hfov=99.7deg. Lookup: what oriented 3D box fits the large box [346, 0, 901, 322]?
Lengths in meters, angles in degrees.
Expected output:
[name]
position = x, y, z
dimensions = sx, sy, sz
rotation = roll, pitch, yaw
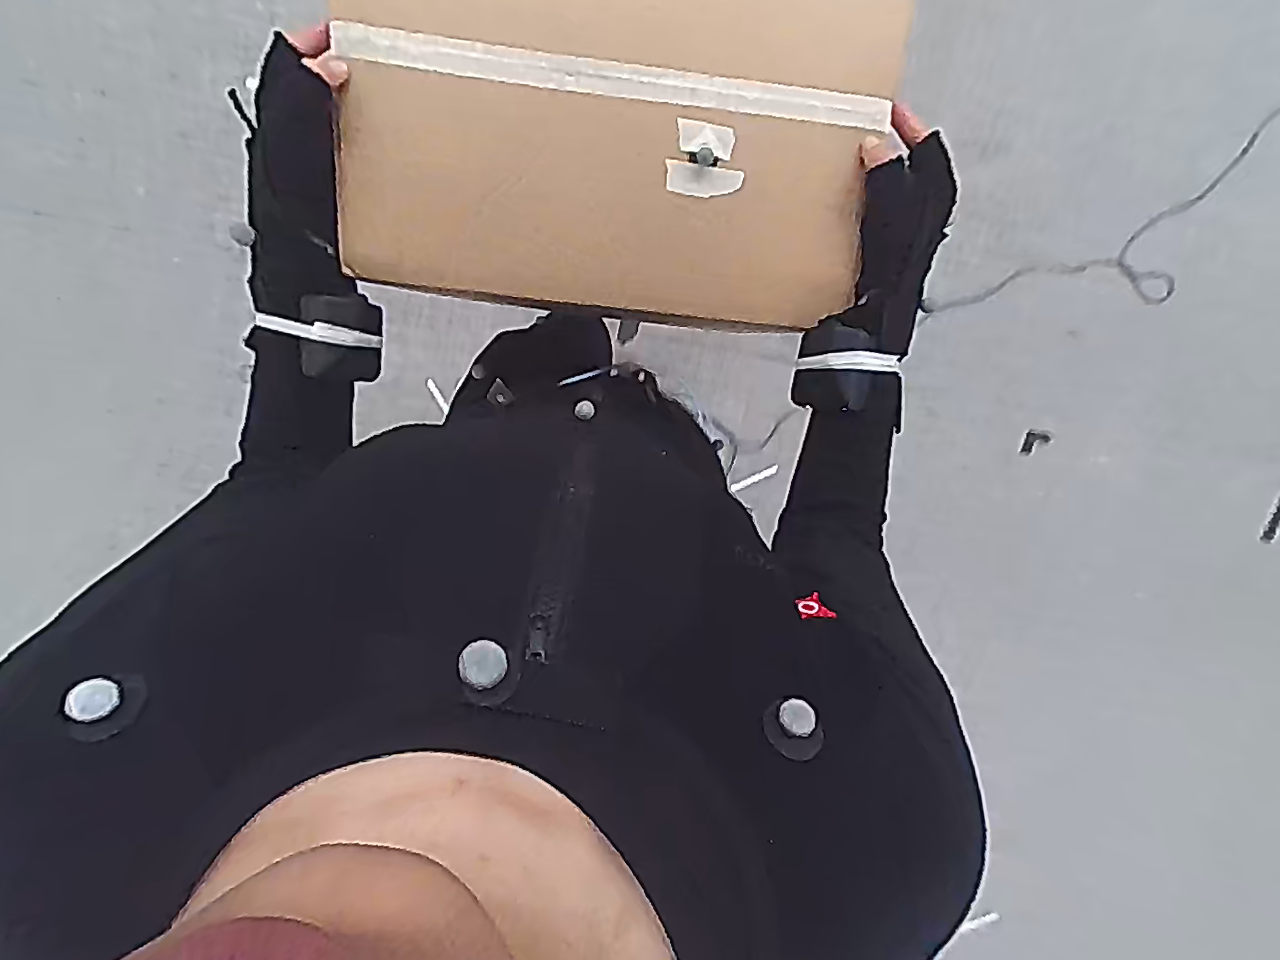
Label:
[large box]
position = -0.023, -0.336, 0.544
dimensions = 0.408, 0.320, 0.320
rotation = 5, 106, -5
